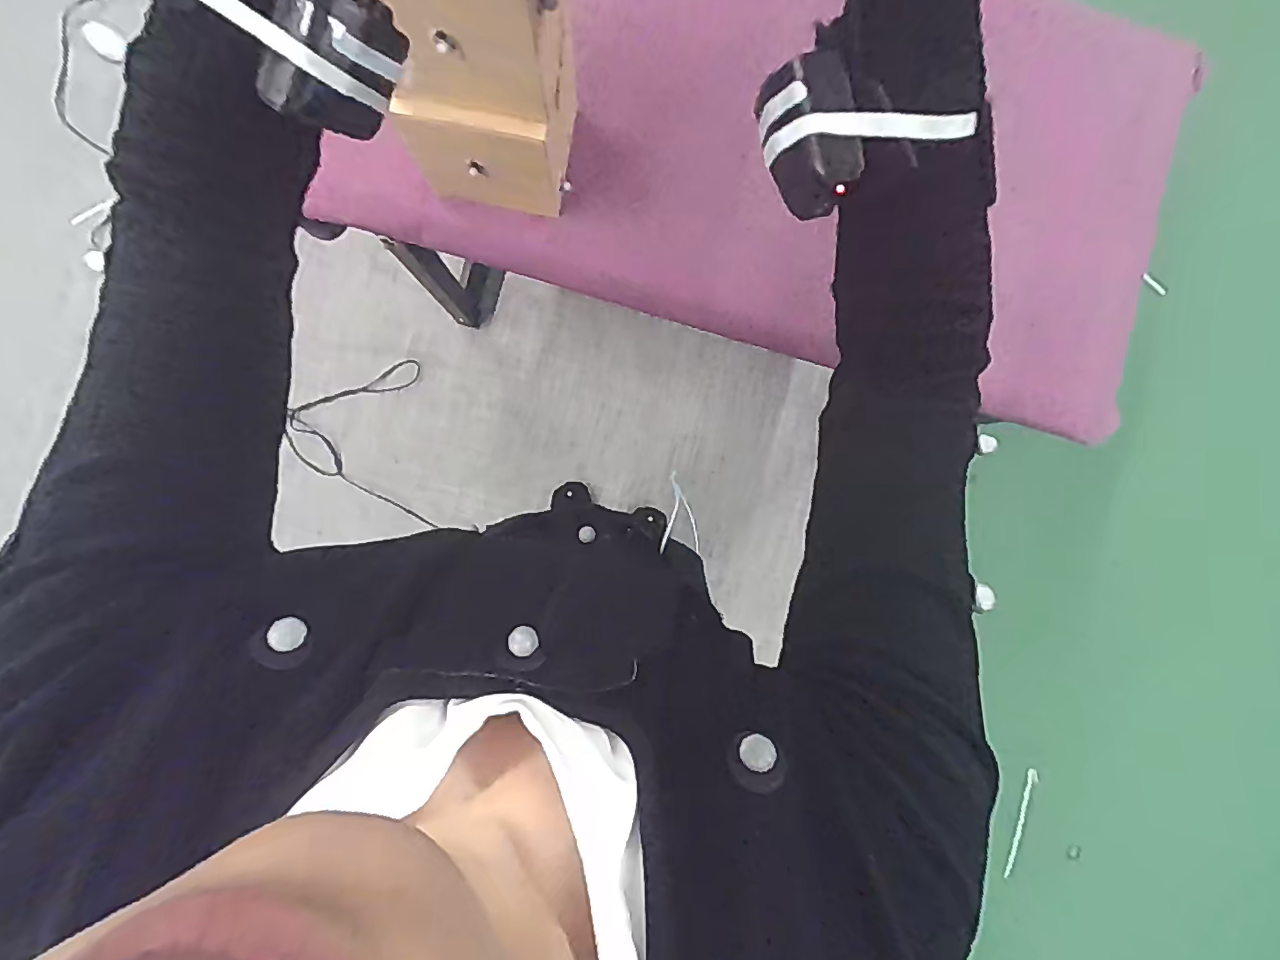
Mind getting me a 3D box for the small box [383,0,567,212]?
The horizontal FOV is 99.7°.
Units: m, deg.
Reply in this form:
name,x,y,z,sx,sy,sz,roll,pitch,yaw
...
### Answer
name,x,y,z,sx,sy,sz,roll,pitch,yaw
small box,-0.191,-0.468,0.683,0.179,0.176,0.168,9,88,-4
